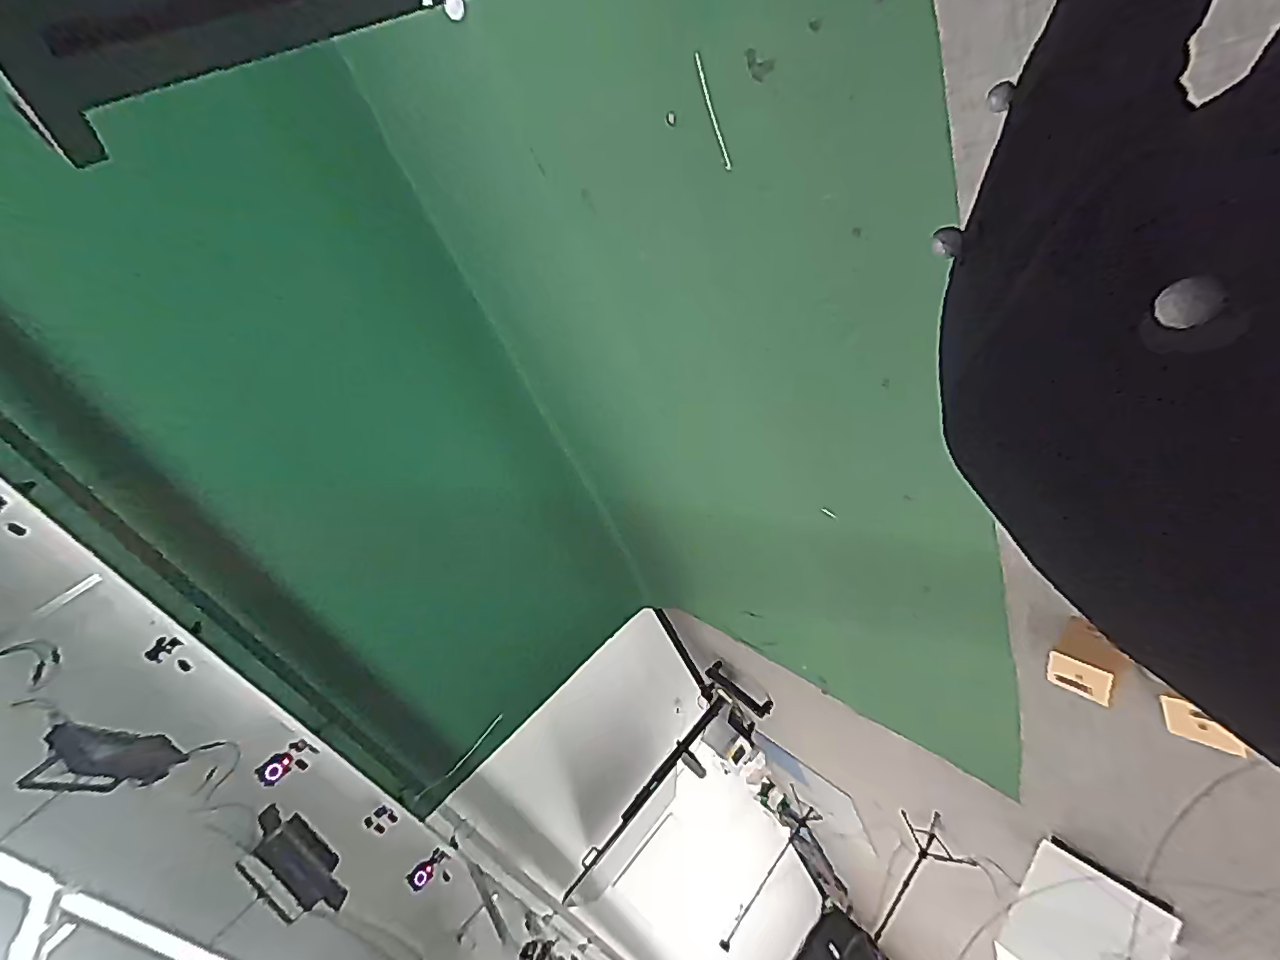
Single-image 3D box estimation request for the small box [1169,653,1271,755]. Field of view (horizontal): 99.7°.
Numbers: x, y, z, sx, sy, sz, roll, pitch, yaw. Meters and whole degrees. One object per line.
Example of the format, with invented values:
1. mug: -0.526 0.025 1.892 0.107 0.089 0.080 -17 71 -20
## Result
1. small box: 1.653 0.629 1.540 0.168 0.176 0.179 7 133 59
